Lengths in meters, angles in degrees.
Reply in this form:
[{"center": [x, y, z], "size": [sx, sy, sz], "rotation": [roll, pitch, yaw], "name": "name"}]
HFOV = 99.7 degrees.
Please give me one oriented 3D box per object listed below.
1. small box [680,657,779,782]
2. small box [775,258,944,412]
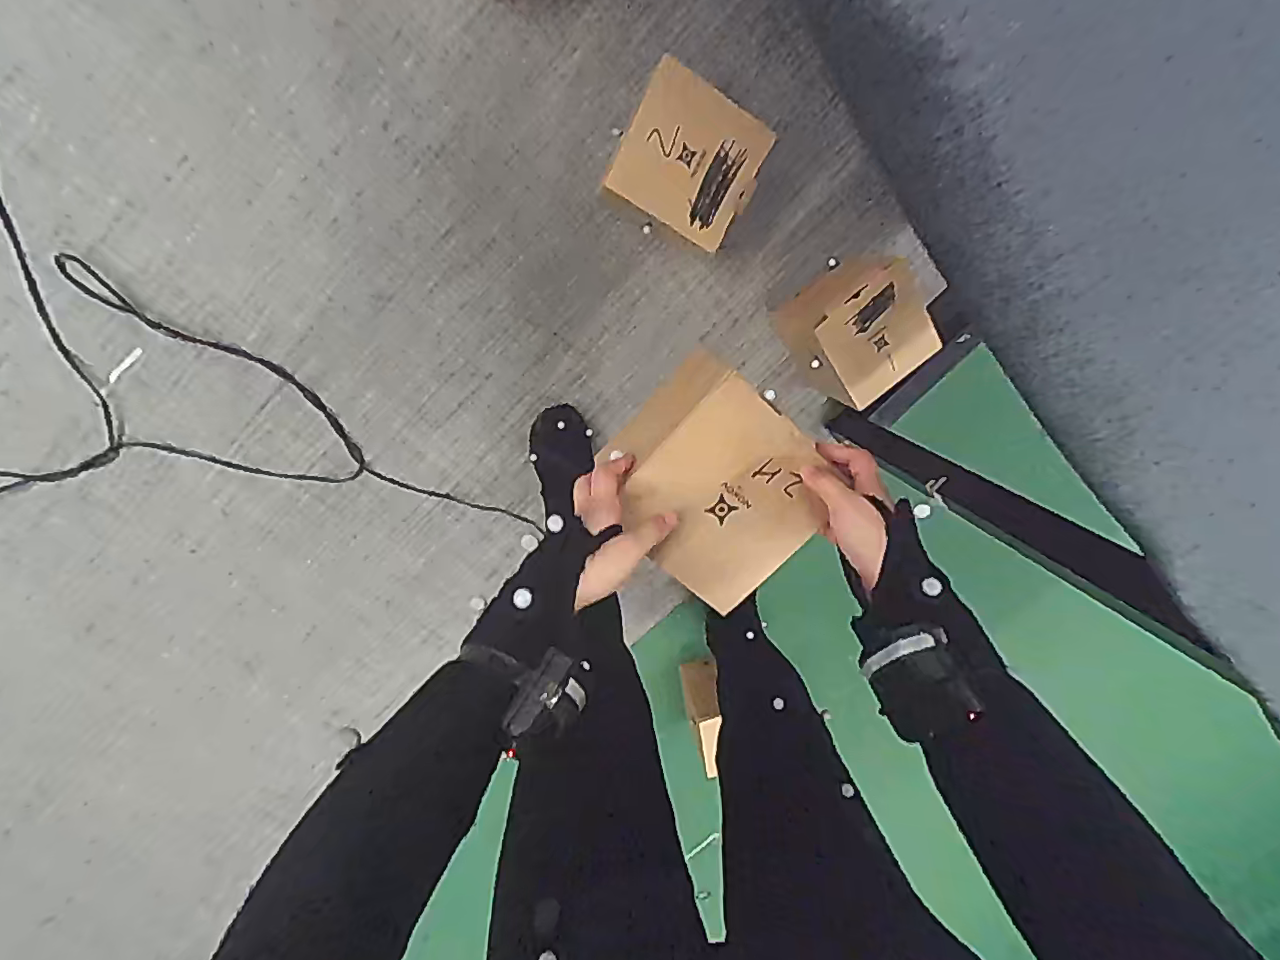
[{"center": [0.192, 0.515, 1.191], "size": [0.168, 0.176, 0.179], "rotation": [-12, 113, -6], "name": "small box"}, {"center": [0.356, -0.247, 0.907], "size": [0.168, 0.176, 0.179], "rotation": [-38, 115, 7], "name": "small box"}]
